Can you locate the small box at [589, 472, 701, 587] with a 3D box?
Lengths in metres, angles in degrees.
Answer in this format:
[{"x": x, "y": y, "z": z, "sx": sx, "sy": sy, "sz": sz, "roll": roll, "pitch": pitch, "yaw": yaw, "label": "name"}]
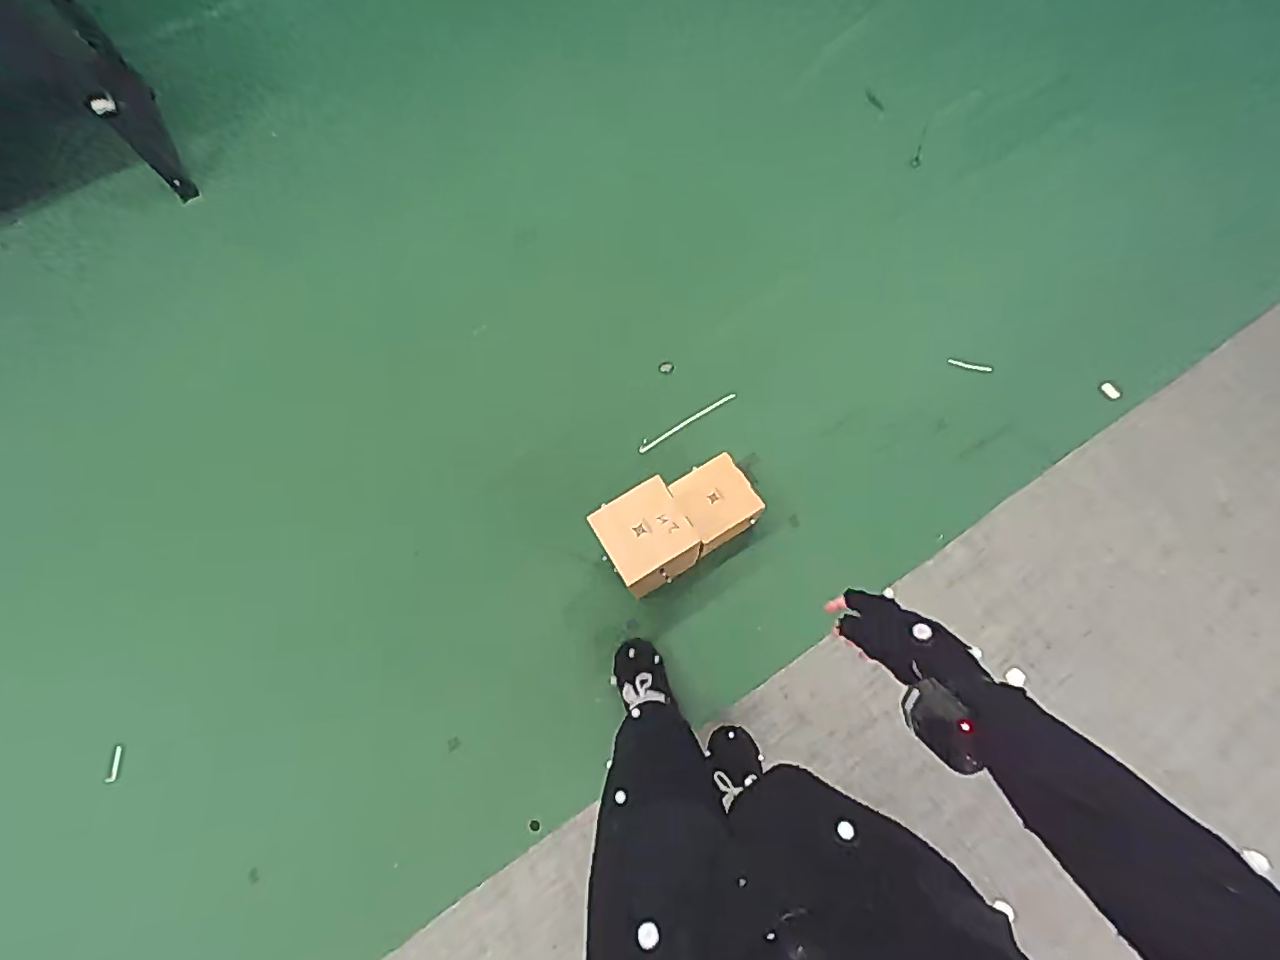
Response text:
[{"x": 0.014, "y": 0.114, "z": 1.156, "sx": 0.179, "sy": 0.176, "sz": 0.168, "roll": -30, "pitch": 74, "yaw": -7, "label": "small box"}]
